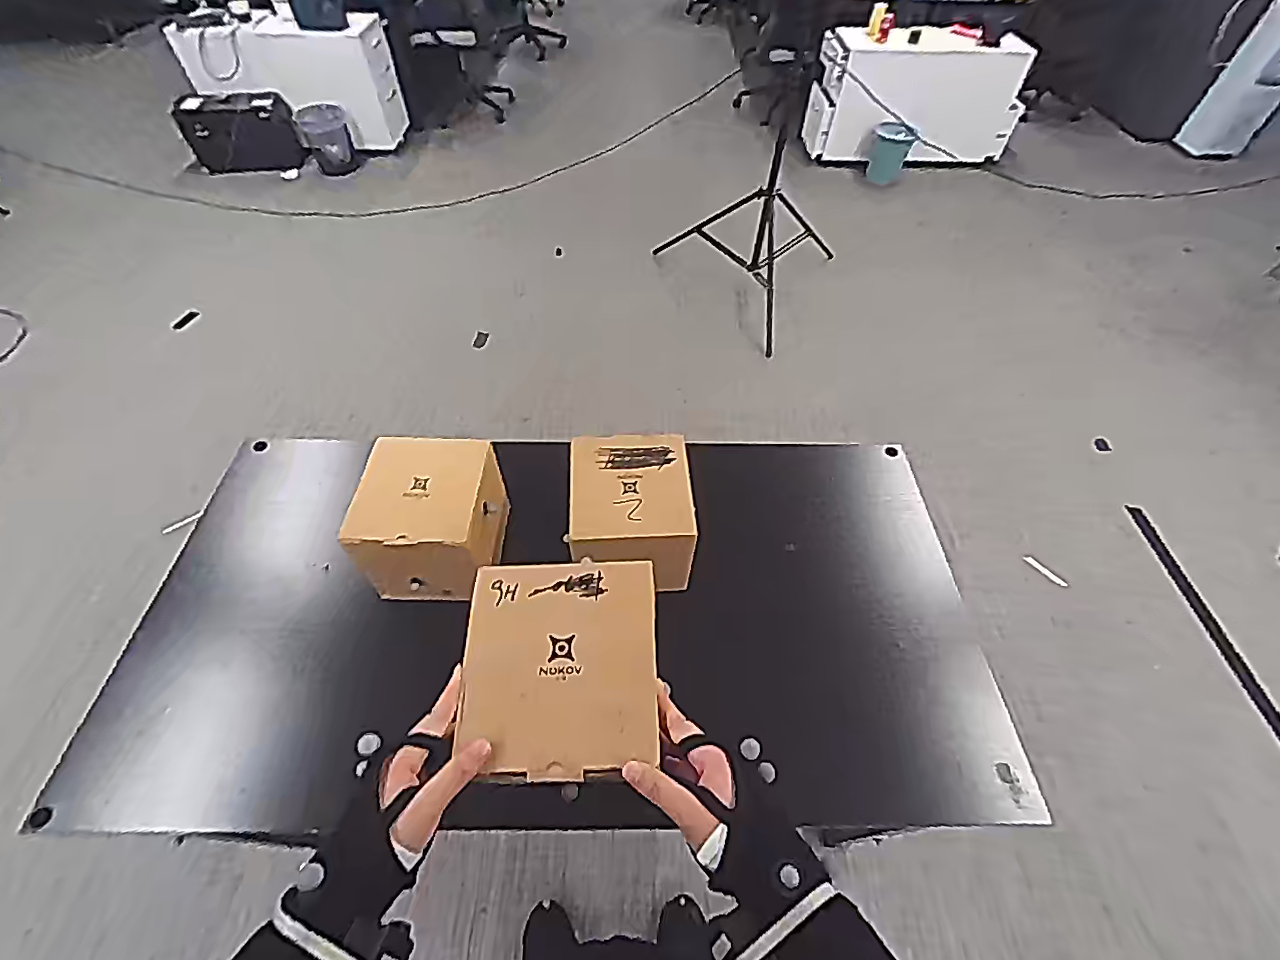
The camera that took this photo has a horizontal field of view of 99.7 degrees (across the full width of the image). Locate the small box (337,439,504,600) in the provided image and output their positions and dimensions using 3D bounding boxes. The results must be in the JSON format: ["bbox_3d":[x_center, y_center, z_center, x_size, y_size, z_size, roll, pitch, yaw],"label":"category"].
[{"bbox_3d":[-0.305,0.060,0.798,0.168,0.176,0.179,1,53,-1],"label":"small box"}]

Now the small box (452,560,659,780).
[{"bbox_3d":[-0.067,0.193,0.534,0.168,0.176,0.179,-3,60,1],"label":"small box"}]
